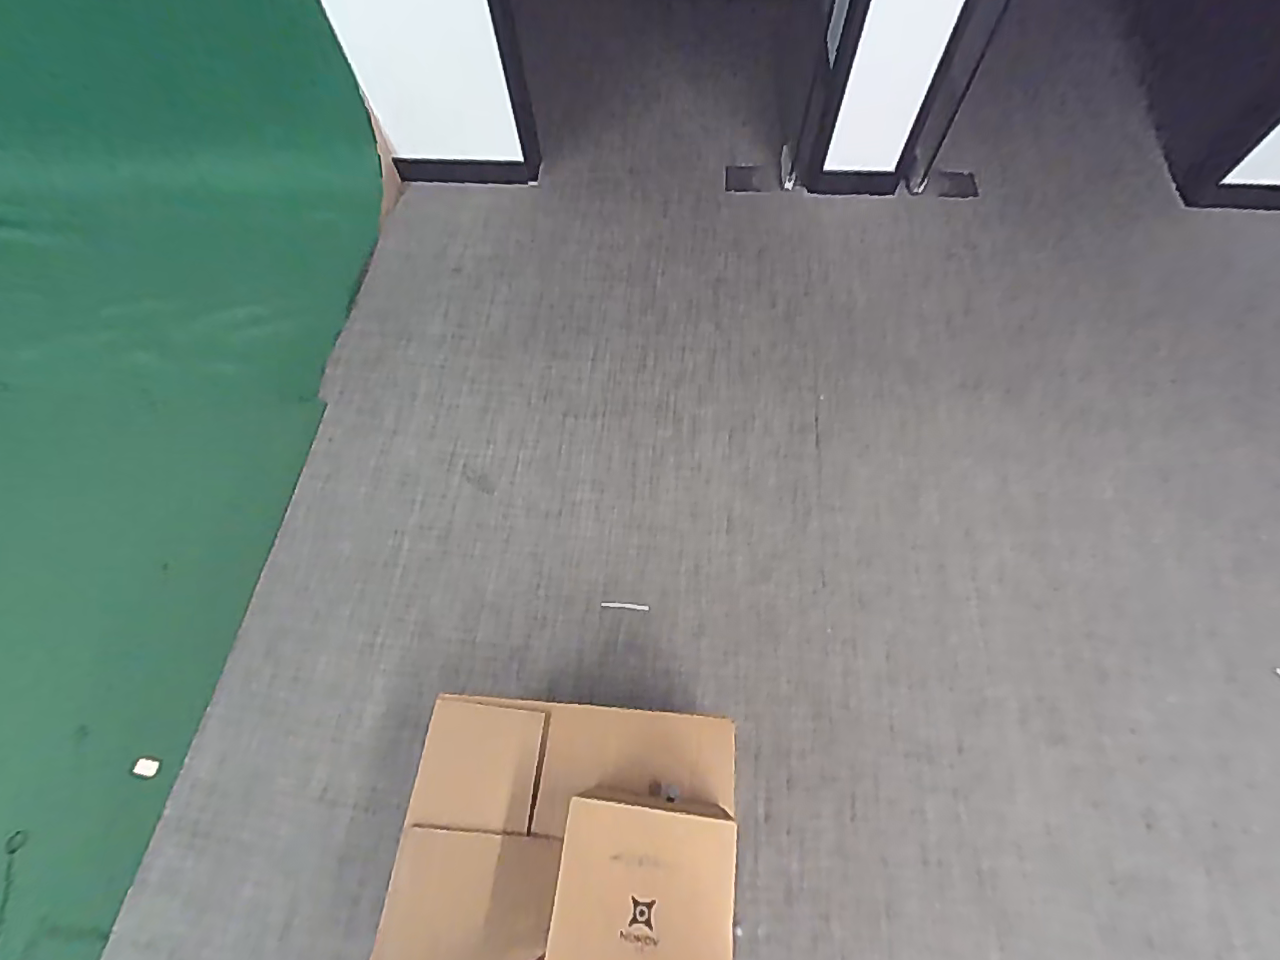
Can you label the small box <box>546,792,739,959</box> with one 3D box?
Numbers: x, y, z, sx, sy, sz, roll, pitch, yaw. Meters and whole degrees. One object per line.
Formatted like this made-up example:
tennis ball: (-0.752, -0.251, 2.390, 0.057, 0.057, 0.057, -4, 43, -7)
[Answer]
small box: (0.007, 0.436, 0.556, 0.168, 0.176, 0.179, 6, 63, 6)
